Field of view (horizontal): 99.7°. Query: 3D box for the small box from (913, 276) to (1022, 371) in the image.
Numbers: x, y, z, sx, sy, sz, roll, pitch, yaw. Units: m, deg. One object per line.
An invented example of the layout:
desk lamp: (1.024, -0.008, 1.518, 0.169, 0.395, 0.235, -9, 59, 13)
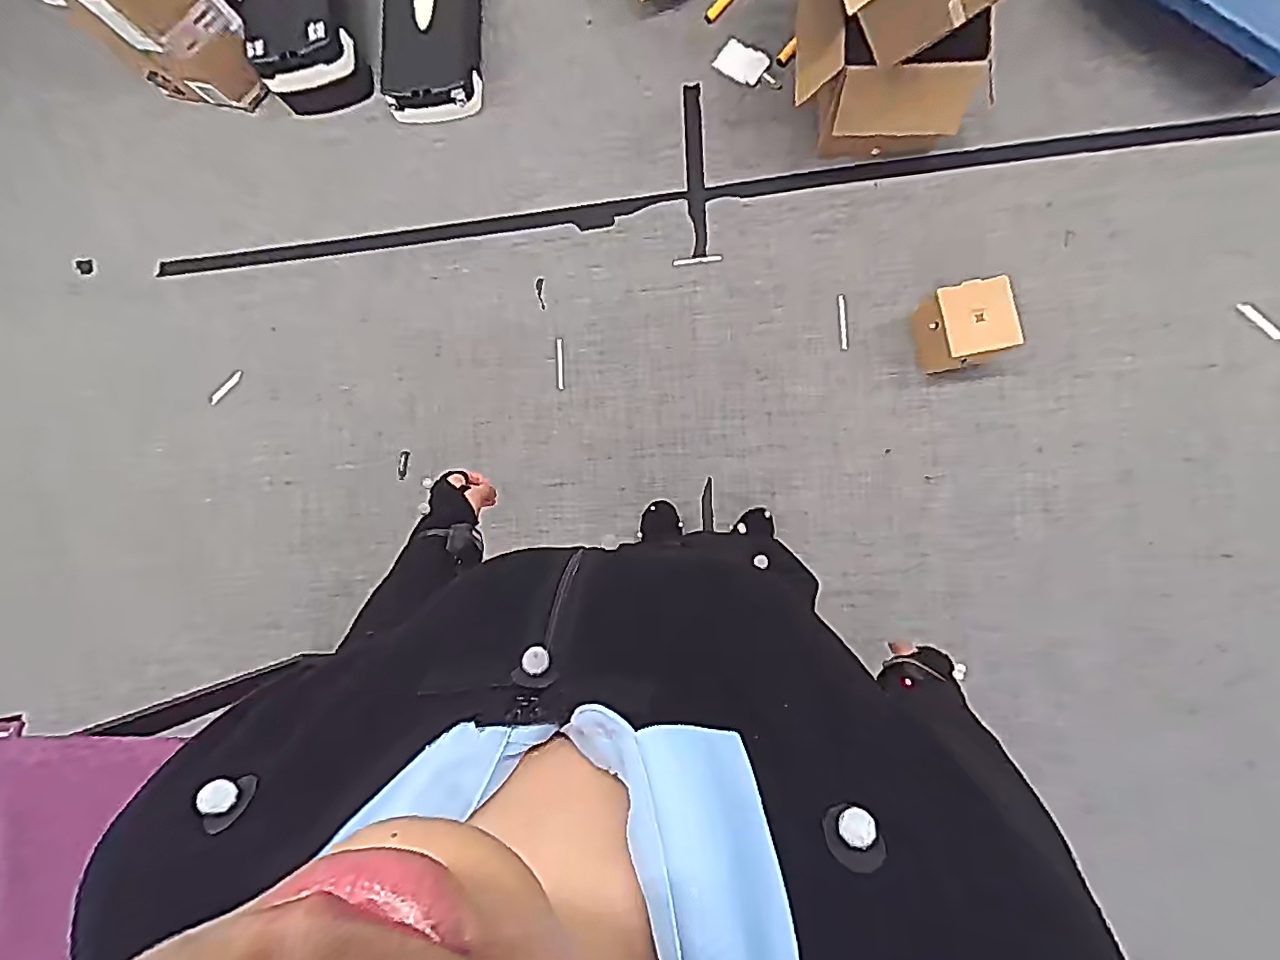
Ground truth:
small box: (0.819, -0.385, 1.370, 0.168, 0.176, 0.179, -11, 84, 6)
